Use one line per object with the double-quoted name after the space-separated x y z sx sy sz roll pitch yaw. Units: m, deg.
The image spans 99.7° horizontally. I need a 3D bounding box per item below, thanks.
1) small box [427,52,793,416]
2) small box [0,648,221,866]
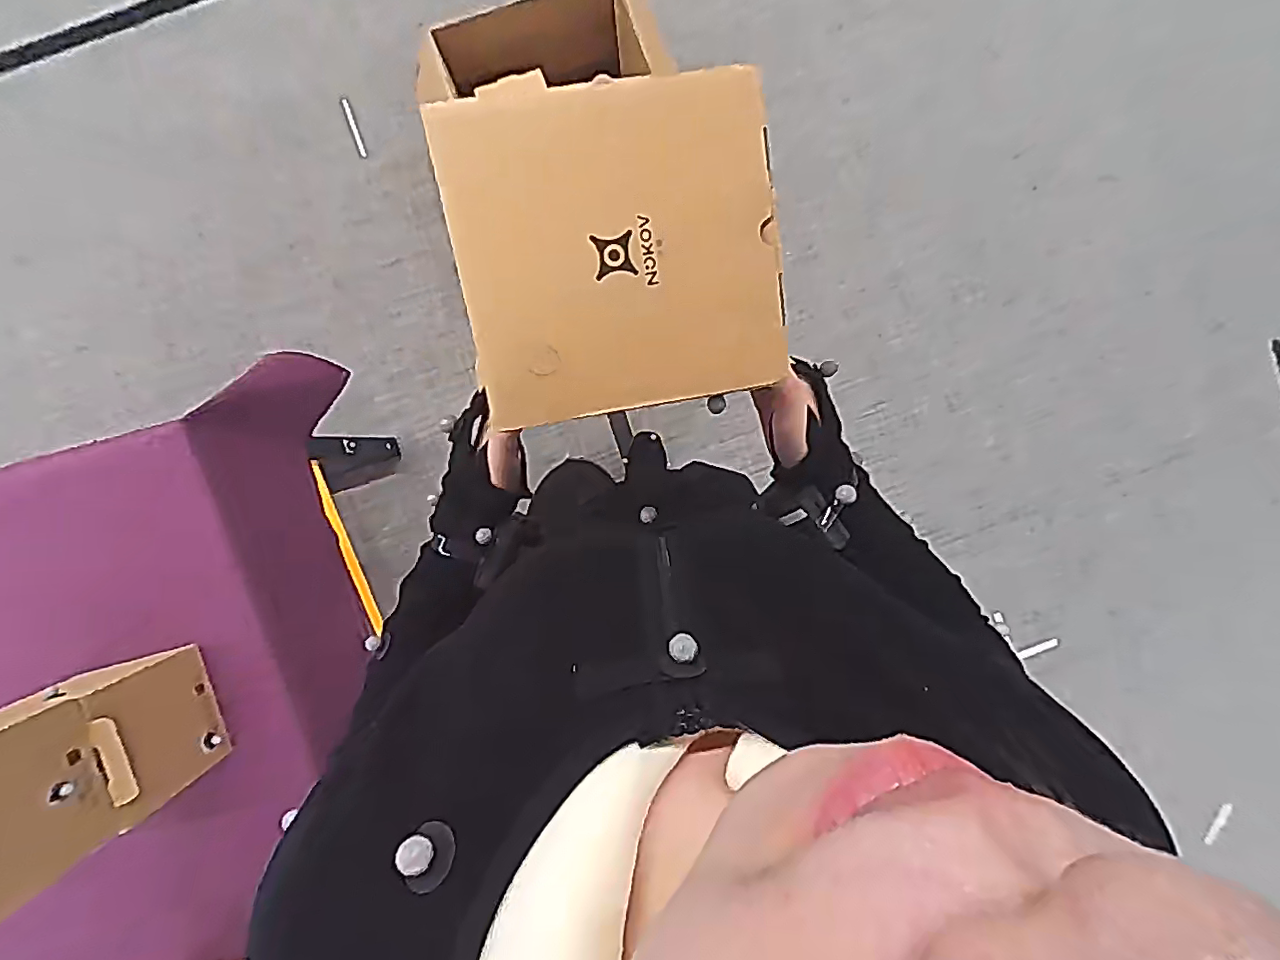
-0.018 -0.143 0.366 0.179 0.176 0.168 -11 104 -6 "small box"
-0.680 0.334 0.684 0.179 0.176 0.168 -15 94 1 "small box"
